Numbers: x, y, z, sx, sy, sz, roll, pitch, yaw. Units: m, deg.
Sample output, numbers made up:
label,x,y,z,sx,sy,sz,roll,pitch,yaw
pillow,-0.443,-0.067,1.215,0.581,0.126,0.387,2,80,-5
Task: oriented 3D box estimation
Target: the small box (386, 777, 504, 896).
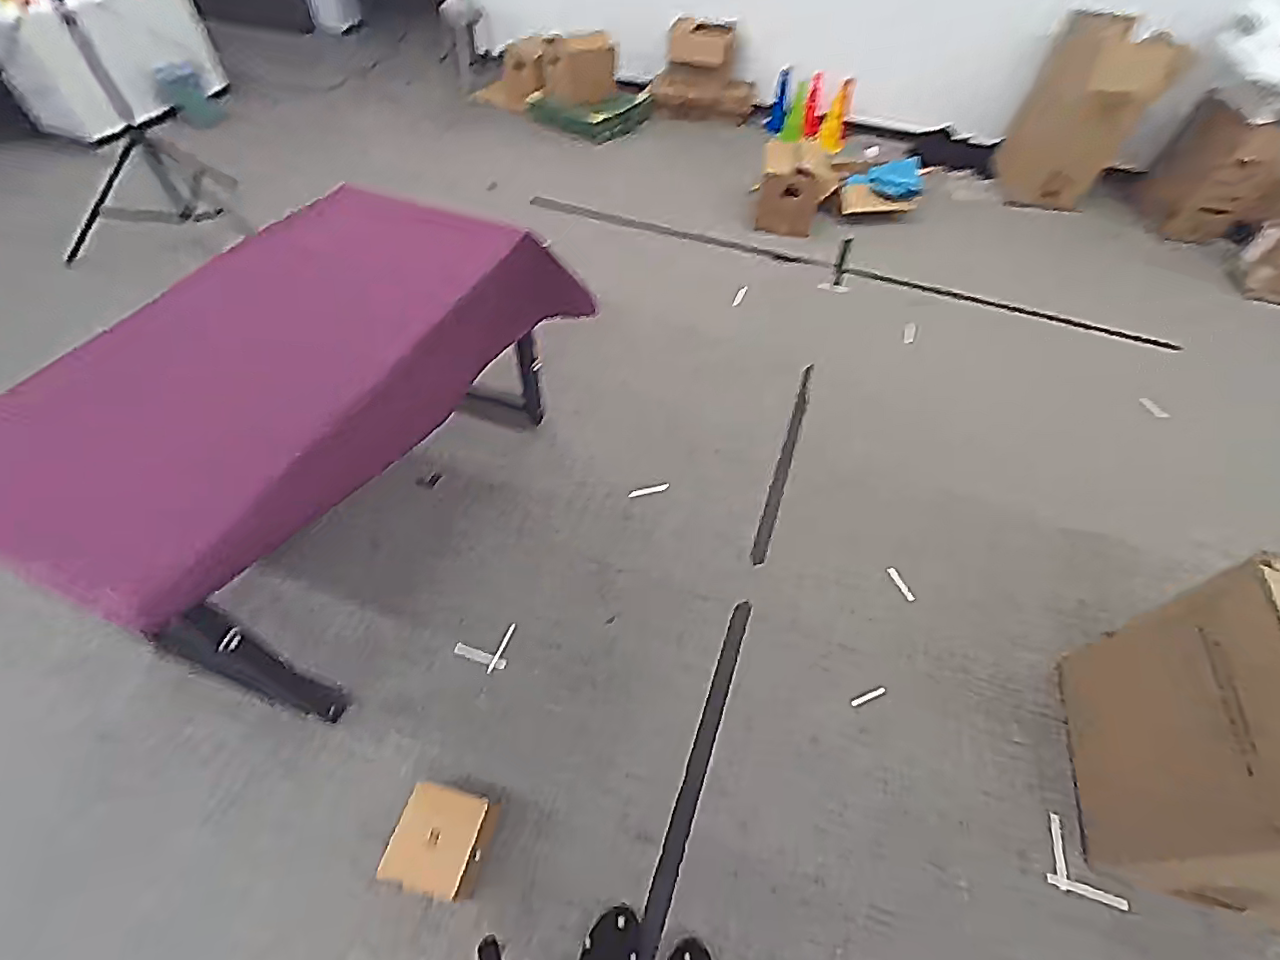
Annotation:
label,x,y,z,sx,sy,sz,roll,pitch,yaw
small box,-0.409,0.777,1.175,0.168,0.176,0.179,13,52,6
